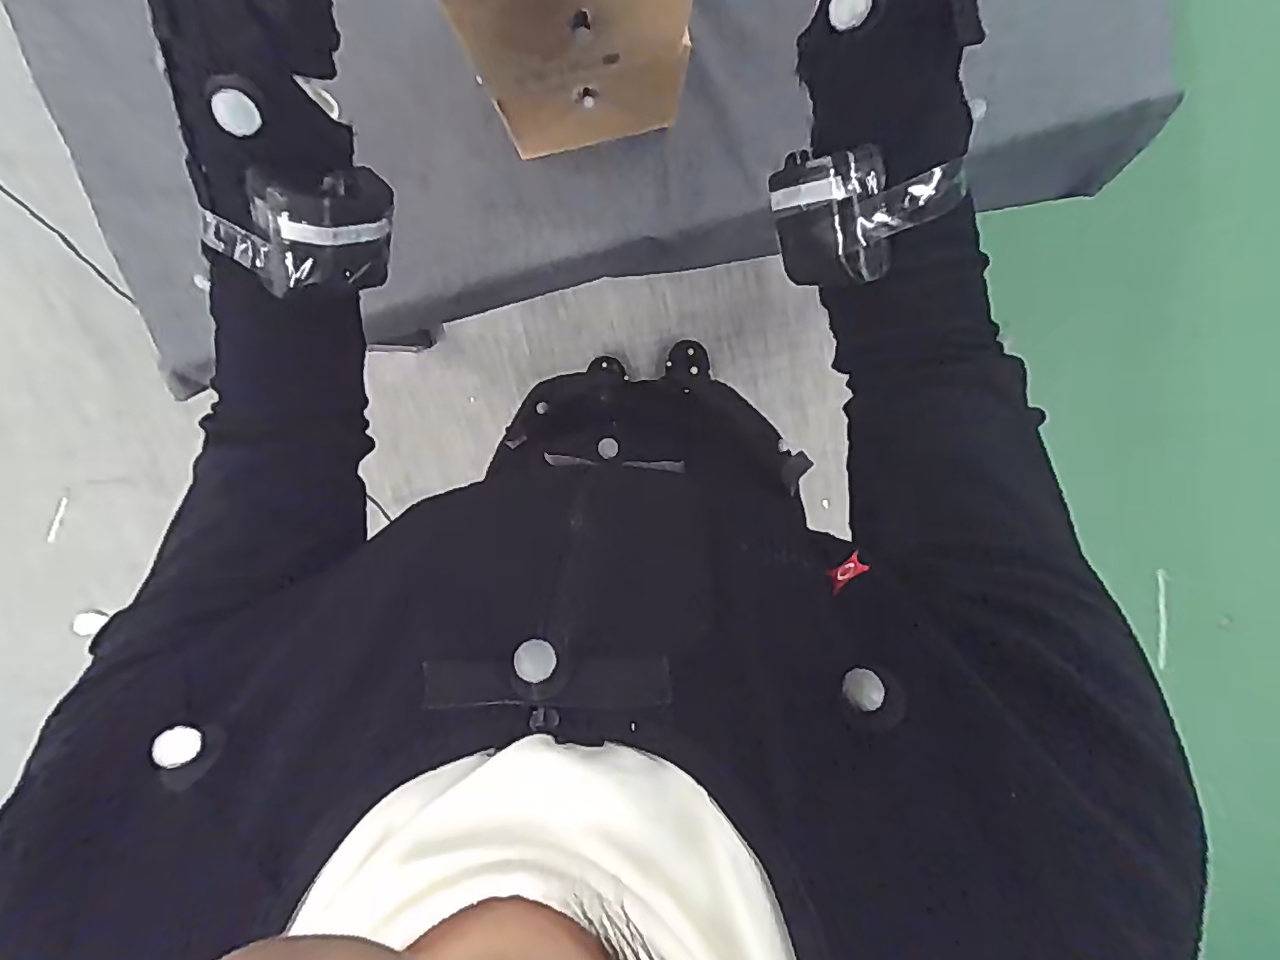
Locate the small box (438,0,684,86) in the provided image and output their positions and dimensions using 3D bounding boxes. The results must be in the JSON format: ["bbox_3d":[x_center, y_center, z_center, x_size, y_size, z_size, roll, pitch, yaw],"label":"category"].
[{"bbox_3d":[-0.061,-0.403,0.364,0.168,0.176,0.179,-12,103,1],"label":"small box"}]

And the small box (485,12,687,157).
[{"bbox_3d":[-0.061,-0.441,0.523,0.179,0.176,0.168,-13,103,1],"label":"small box"}]
